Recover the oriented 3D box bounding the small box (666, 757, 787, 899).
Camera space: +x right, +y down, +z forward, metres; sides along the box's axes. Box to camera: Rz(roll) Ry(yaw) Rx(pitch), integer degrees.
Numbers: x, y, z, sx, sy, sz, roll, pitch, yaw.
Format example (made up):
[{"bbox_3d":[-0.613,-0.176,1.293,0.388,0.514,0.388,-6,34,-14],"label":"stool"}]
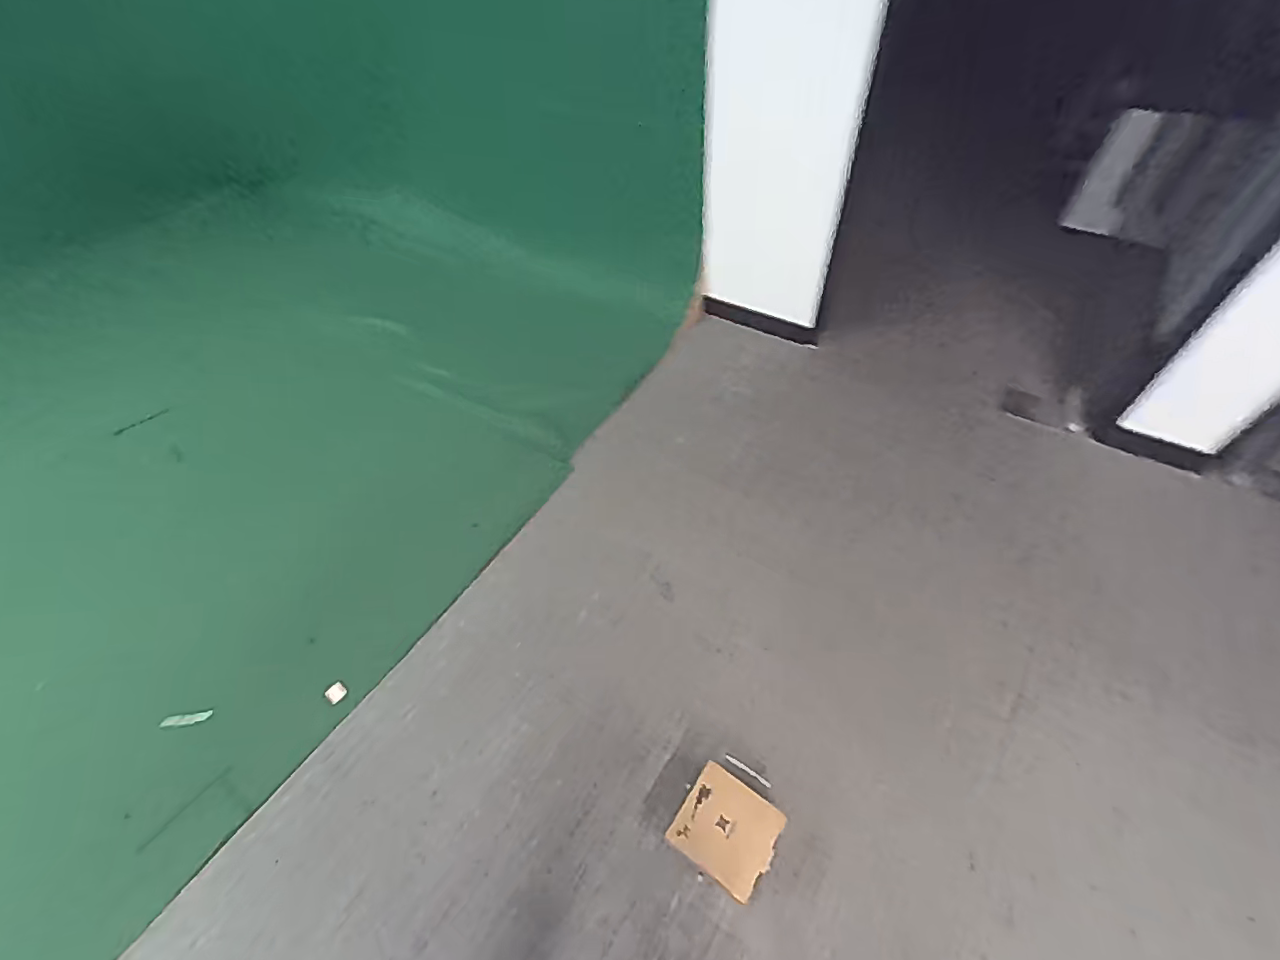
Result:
[{"bbox_3d":[0.170,0.699,1.092,0.179,0.176,0.168,29,60,24],"label":"small box"}]
